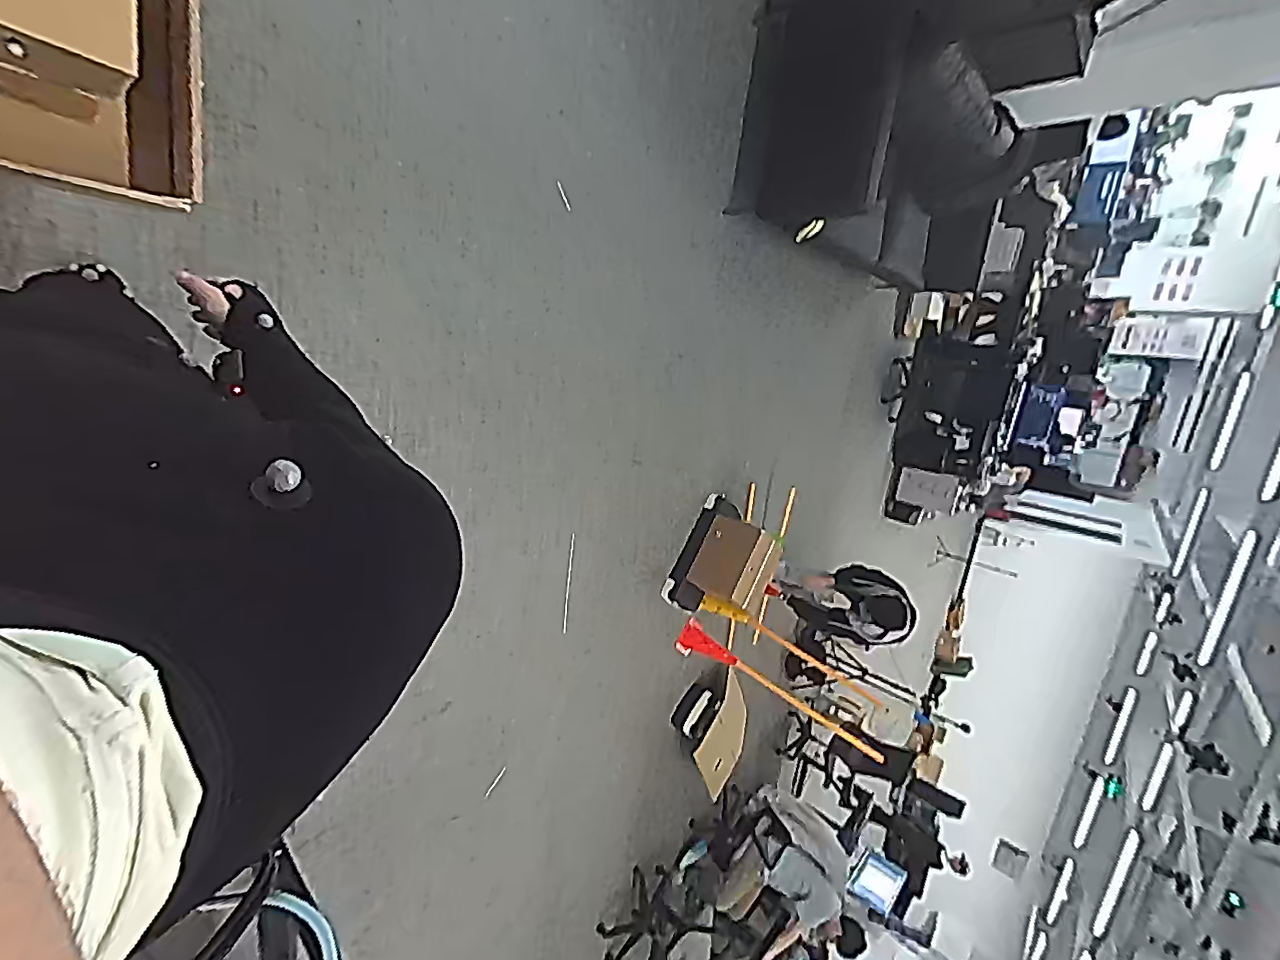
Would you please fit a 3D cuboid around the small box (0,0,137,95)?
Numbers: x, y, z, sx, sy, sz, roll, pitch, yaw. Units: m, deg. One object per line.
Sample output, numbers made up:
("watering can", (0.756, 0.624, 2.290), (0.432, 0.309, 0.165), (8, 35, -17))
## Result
("small box", (-0.673, -0.551, 0.581), (0.179, 0.176, 0.168), (-3, 108, -51))
